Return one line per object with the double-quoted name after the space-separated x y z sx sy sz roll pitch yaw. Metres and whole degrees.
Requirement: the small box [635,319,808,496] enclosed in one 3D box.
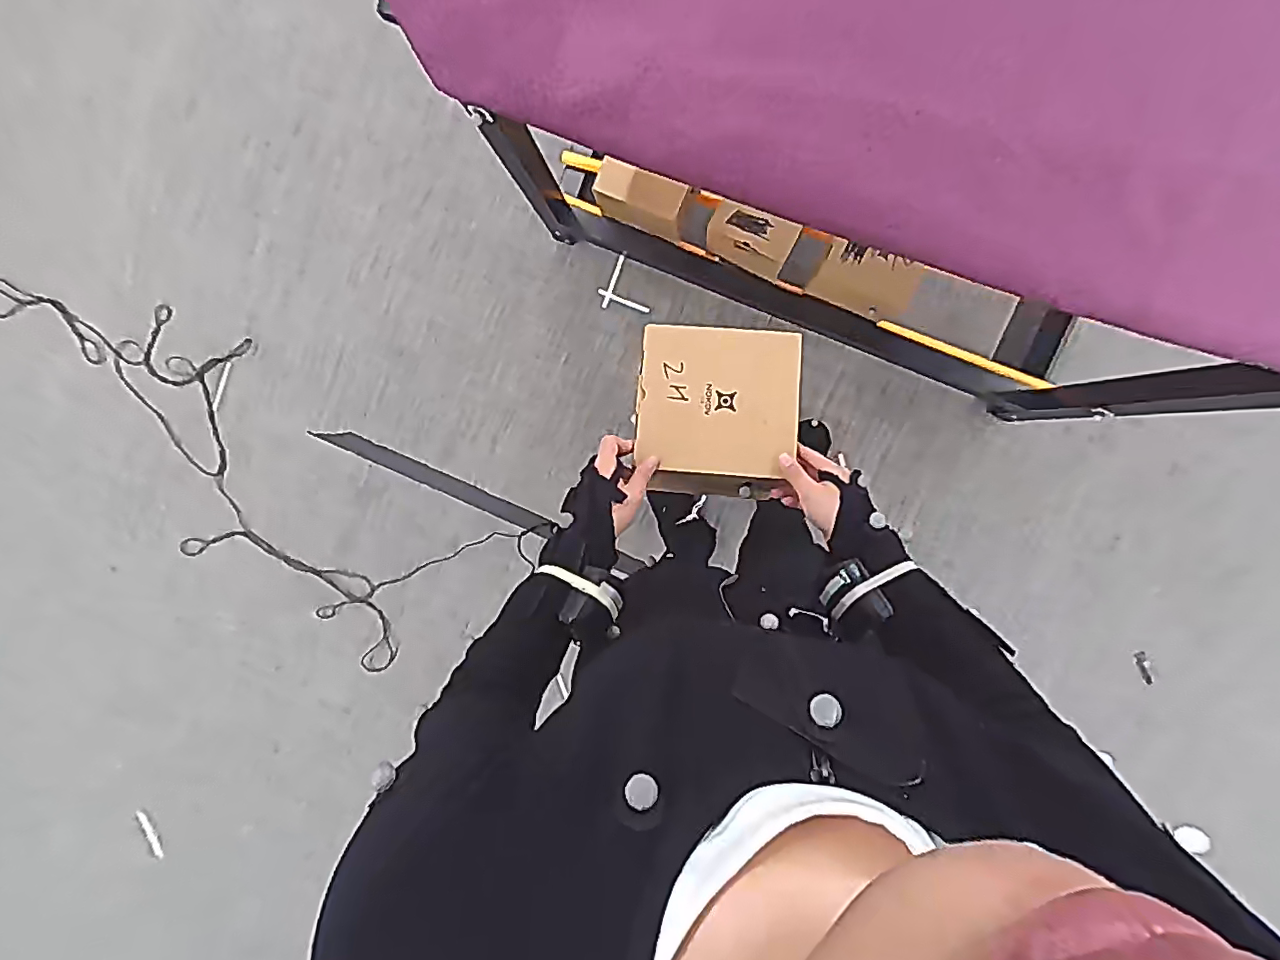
0.091 -0.076 0.655 0.179 0.176 0.168 5 80 4 "small box"
